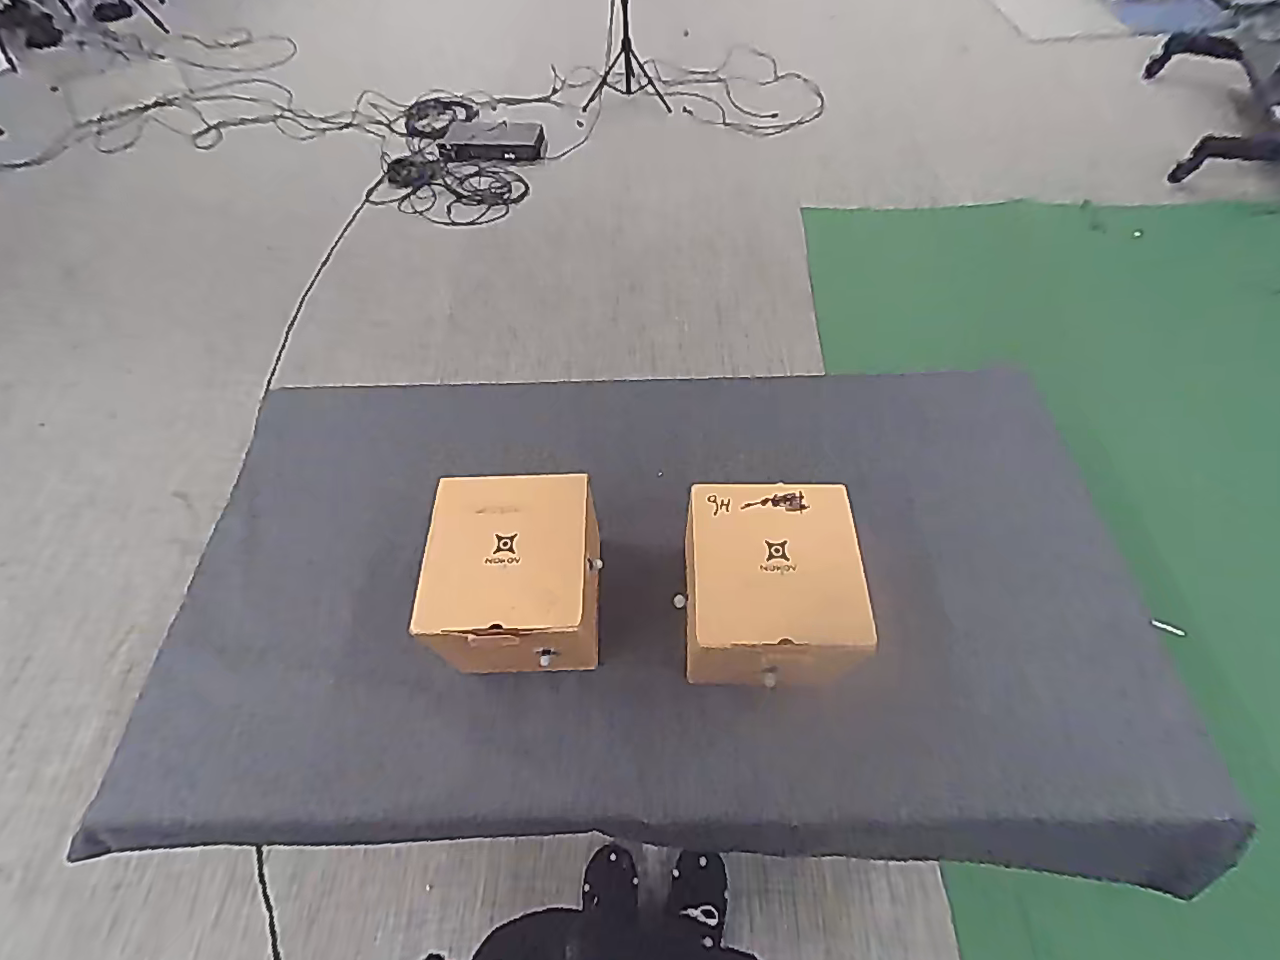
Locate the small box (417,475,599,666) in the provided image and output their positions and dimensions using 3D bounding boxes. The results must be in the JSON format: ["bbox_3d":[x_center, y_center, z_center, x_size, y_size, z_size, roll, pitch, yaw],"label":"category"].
[{"bbox_3d":[-0.135,0.112,0.630,0.168,0.176,0.179,-2,57,-1],"label":"small box"}]
